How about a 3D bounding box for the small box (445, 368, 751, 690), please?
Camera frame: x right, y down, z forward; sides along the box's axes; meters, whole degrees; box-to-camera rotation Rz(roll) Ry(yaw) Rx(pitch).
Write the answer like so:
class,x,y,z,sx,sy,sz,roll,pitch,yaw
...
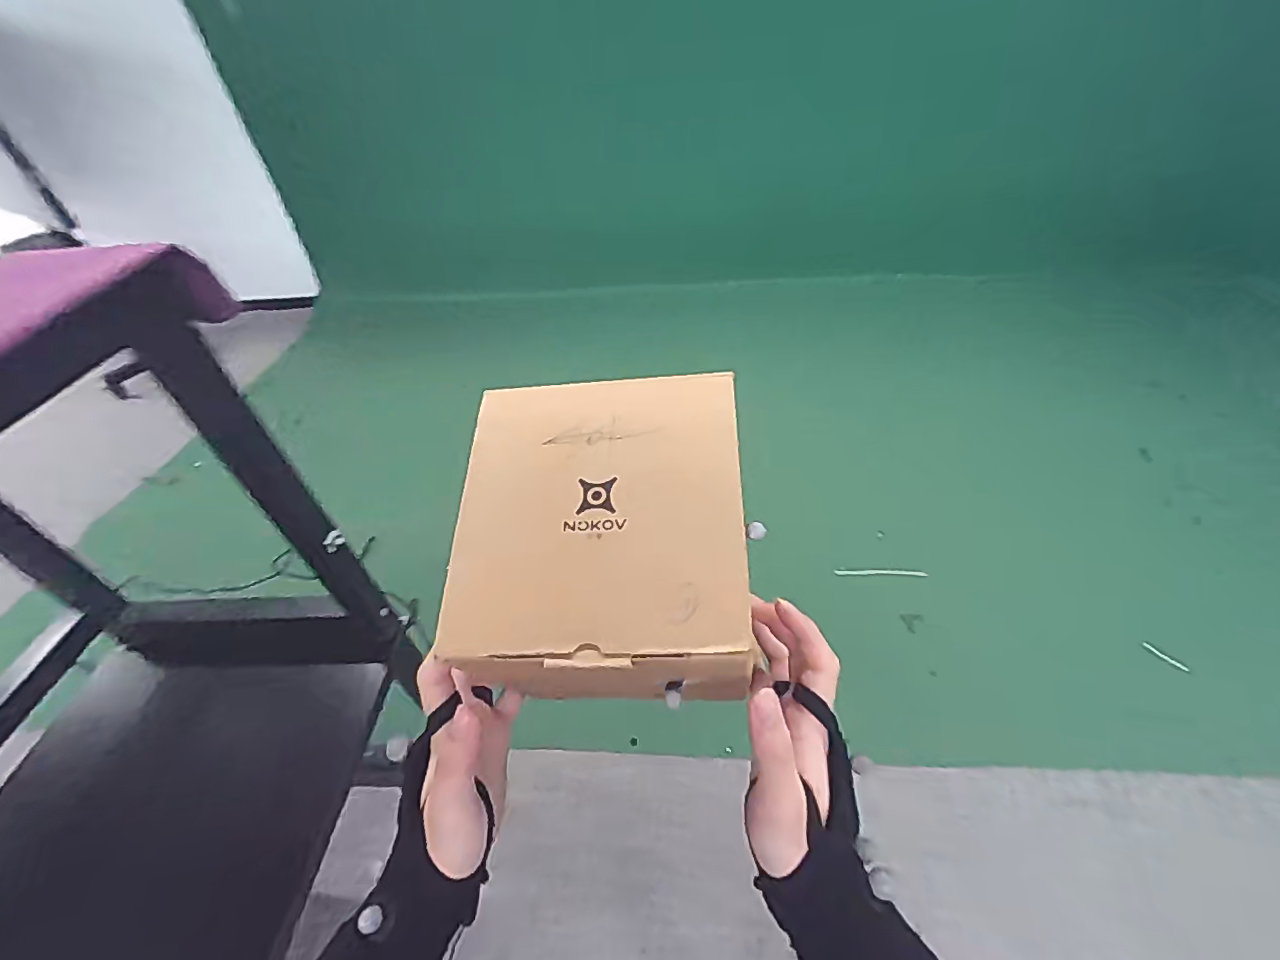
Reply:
class,x,y,z,sx,sy,sz,roll,pitch,yaw
small box,-0.008,0.046,0.382,0.168,0.176,0.179,-2,61,8
